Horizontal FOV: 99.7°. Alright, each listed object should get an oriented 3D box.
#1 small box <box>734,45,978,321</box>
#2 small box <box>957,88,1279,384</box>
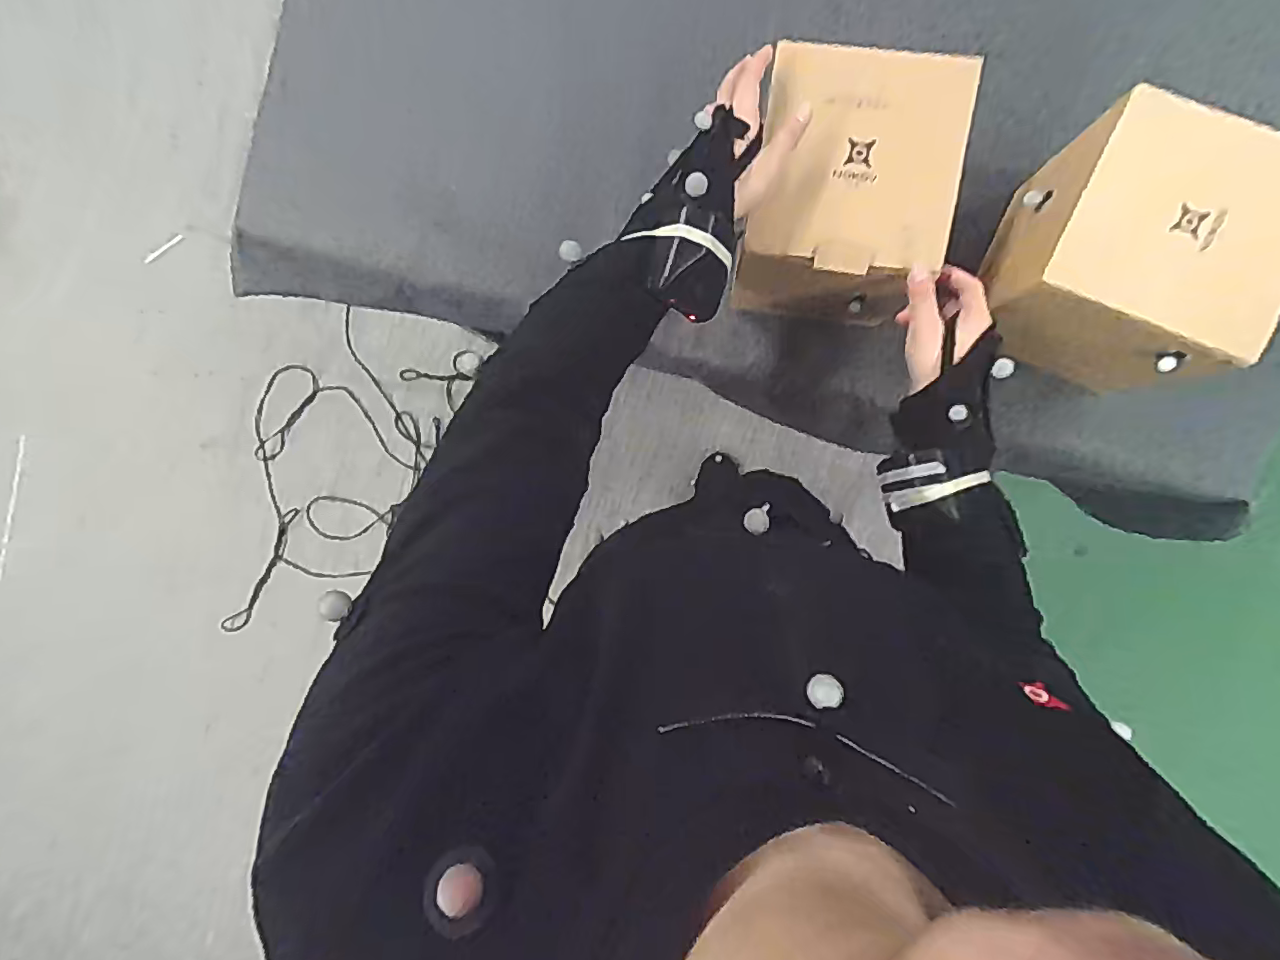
[{"bbox_3d":[0.187,-0.266,0.525,0.168,0.176,0.179,9,92,5],"label":"small box"},{"bbox_3d":[0.438,-0.201,0.500,0.179,0.176,0.168,24,94,5],"label":"small box"}]
